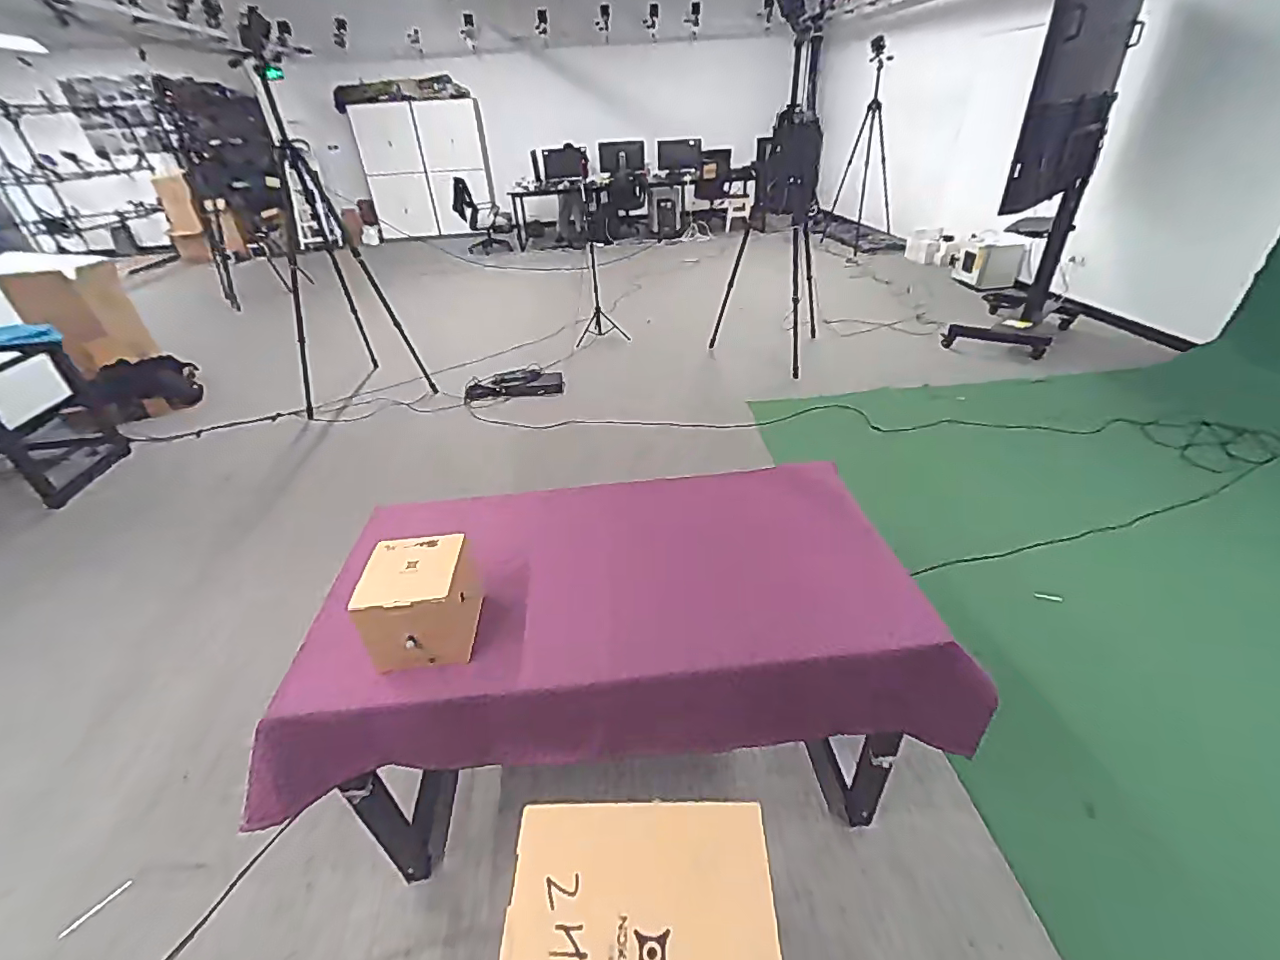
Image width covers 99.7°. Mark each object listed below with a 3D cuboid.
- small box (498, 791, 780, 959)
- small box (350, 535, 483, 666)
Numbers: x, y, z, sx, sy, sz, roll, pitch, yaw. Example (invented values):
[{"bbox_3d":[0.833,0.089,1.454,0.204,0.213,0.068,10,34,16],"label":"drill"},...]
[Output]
[{"bbox_3d":[0.005,0.345,0.392,0.179,0.176,0.168,-3,41,5],"label":"small box"},{"bbox_3d":[-0.401,0.229,1.009,0.168,0.176,0.179,-6,34,-2],"label":"small box"}]
